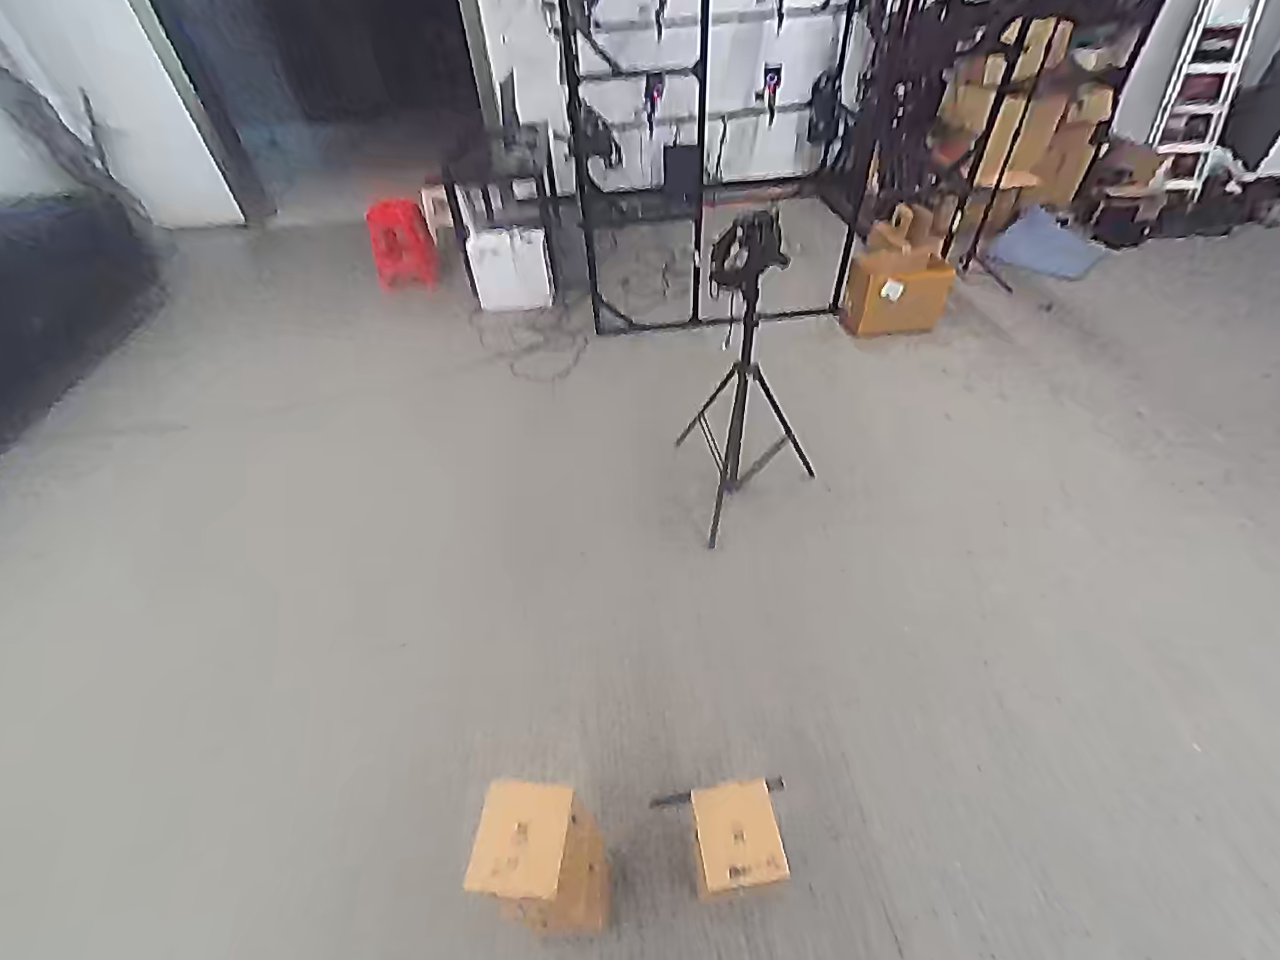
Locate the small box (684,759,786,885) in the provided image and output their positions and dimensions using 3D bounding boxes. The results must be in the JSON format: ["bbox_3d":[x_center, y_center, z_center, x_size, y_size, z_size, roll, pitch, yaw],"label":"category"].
[{"bbox_3d":[0.187,0.712,1.127,0.168,0.176,0.179,-7,44,-3],"label":"small box"}]

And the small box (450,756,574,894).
[{"bbox_3d":[-0.222,0.637,0.999,0.168,0.176,0.179,1,46,7],"label":"small box"}]

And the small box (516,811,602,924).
[{"bbox_3d":[-0.176,0.874,1.220,0.168,0.176,0.179,-5,45,0],"label":"small box"}]

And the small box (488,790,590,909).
[{"bbox_3d":[-0.196,0.758,1.109,0.168,0.176,0.179,-3,45,2],"label":"small box"}]
